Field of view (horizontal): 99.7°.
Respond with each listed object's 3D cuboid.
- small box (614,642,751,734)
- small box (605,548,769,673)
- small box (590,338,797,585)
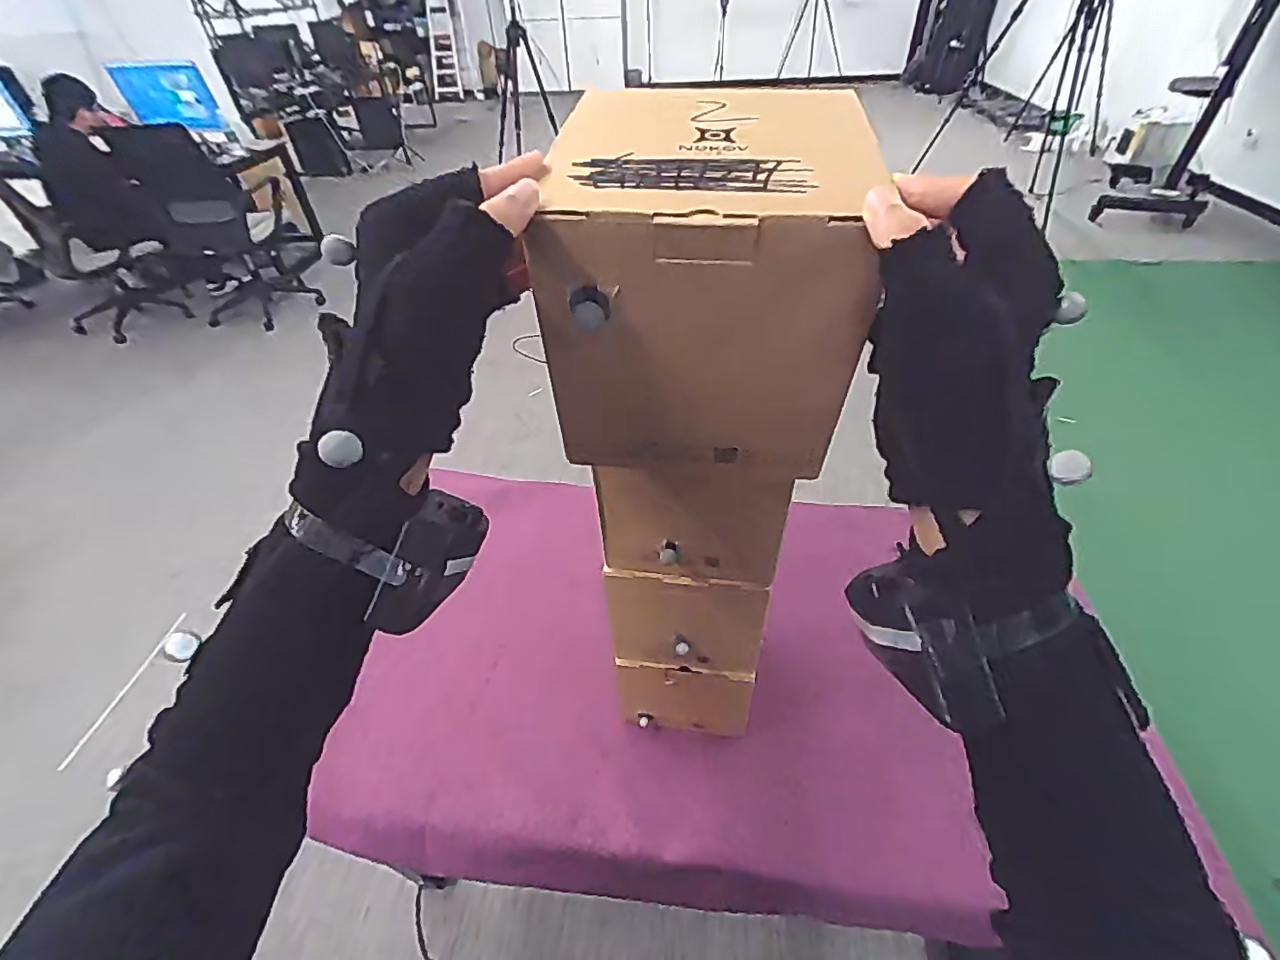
[{"bbox_3d":[0.067,0.227,0.748,0.168,0.176,0.179,5,43,8],"label":"small box"},{"bbox_3d":[0.060,0.101,0.642,0.168,0.176,0.179,4,44,8],"label":"small box"},{"bbox_3d":[0.055,-0.022,0.535,0.168,0.176,0.179,3,43,8],"label":"small box"}]
